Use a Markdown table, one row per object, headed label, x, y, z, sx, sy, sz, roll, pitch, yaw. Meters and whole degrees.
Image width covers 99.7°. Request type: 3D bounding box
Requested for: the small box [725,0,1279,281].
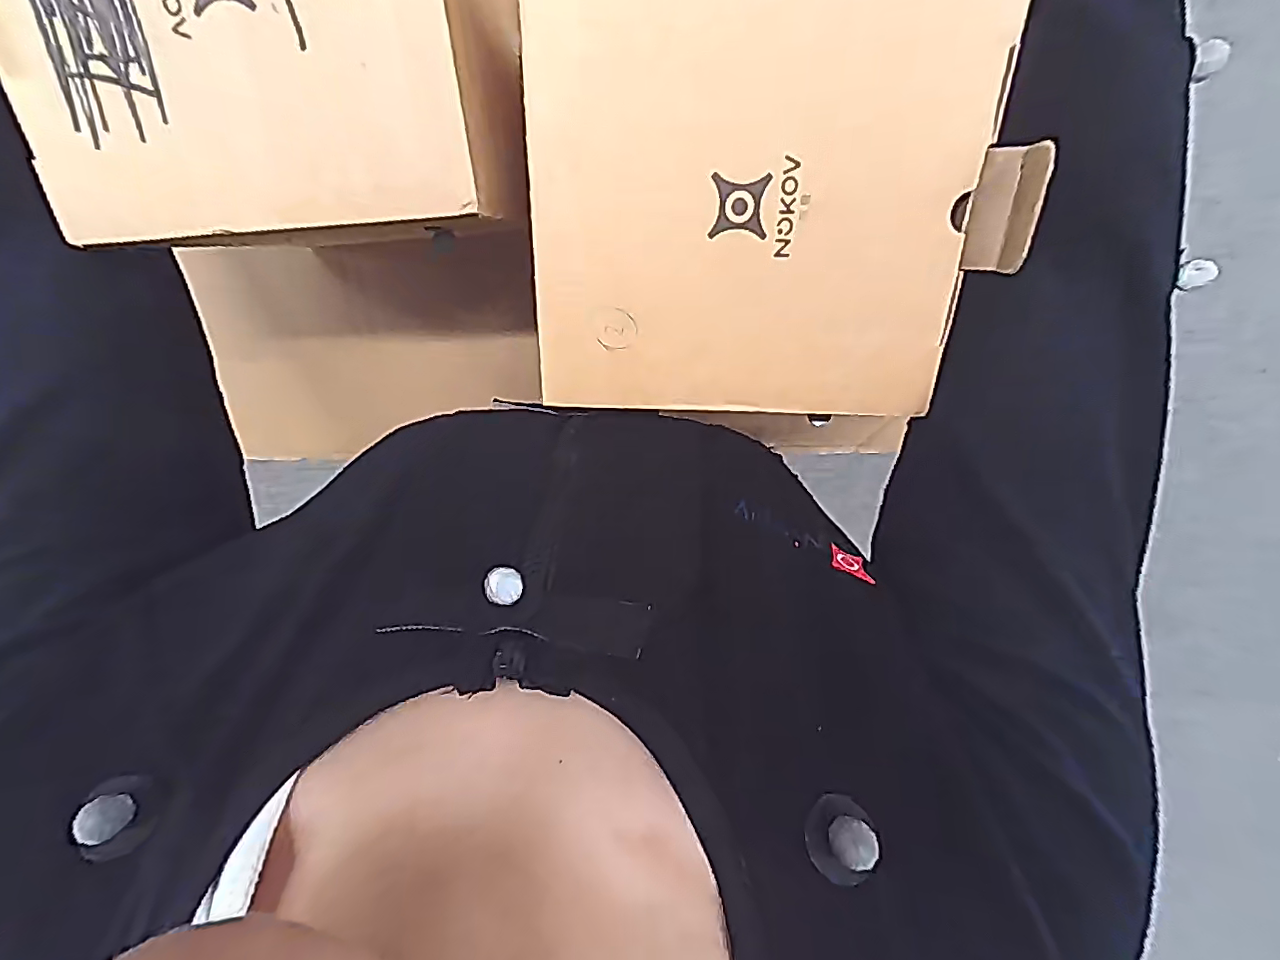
| label | x | y | z | sx | sy | sz | roll | pitch | yaw |
| --- | --- | --- | --- | --- | --- | --- | --- | --- | --- |
| small box | 0.146 | -0.201 | 0.236 | 0.179 | 0.176 | 0.168 | 14 | 121 | -4 |
